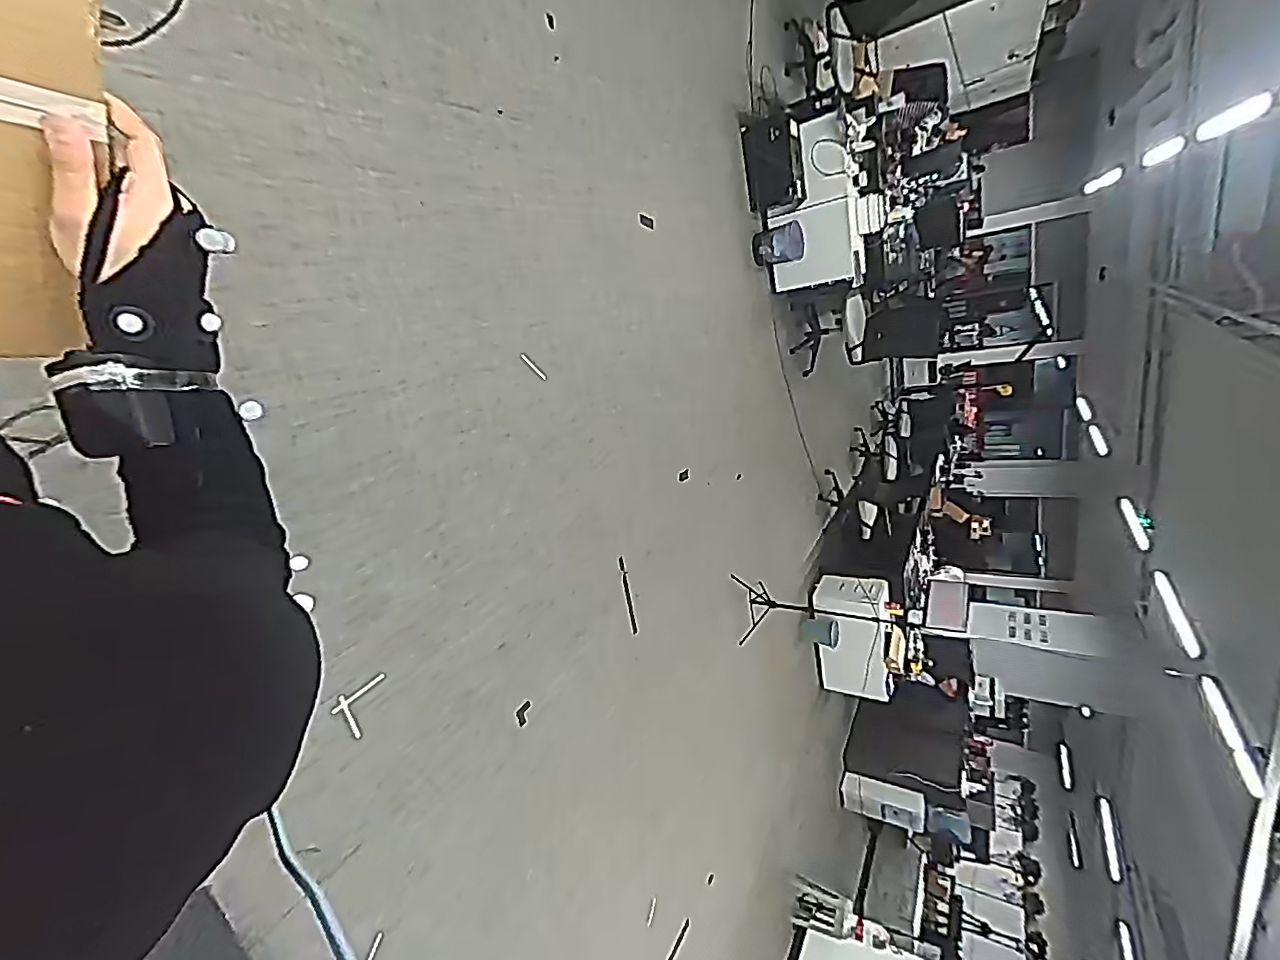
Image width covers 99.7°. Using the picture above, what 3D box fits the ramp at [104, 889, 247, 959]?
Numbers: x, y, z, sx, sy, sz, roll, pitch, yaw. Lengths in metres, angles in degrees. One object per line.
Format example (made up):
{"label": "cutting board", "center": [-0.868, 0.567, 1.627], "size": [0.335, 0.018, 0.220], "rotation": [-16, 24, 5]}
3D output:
{"label": "ramp", "center": [-0.928, 1.432, 1.094], "size": [0.509, 0.206, 0.991], "rotation": [-36, 119, -49]}
